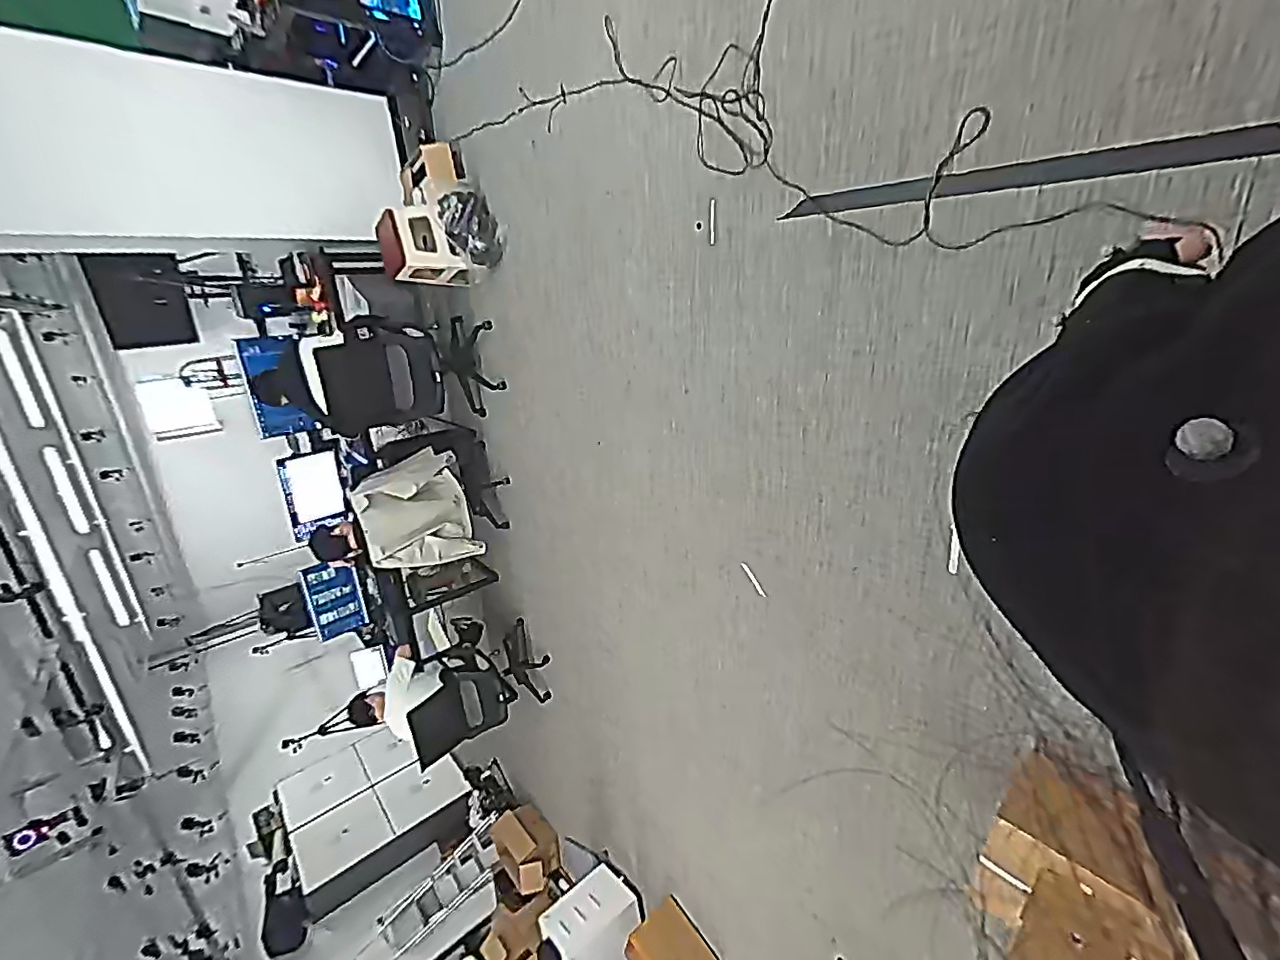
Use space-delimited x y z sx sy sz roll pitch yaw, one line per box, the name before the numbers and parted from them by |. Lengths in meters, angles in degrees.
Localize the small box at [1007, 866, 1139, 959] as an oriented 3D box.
small box | 0.930 0.993 1.161 0.179 0.176 0.168 19 118 47
